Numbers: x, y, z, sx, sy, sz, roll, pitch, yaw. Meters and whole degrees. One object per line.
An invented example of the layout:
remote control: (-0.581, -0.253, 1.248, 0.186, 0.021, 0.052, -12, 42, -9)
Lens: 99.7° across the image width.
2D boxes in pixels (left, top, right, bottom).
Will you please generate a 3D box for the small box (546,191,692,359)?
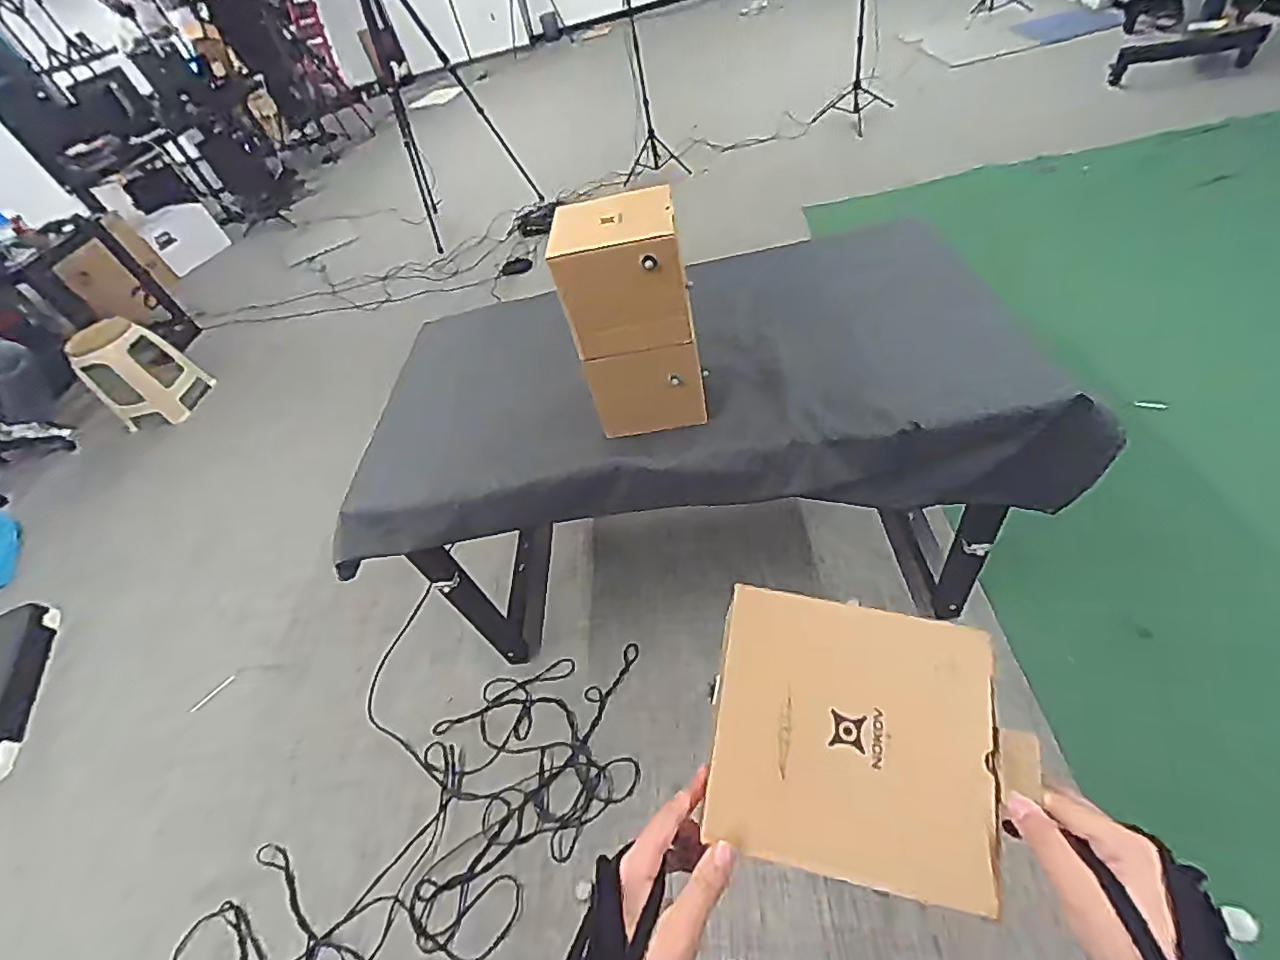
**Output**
small box: (-0.023, -0.298, 0.804, 0.179, 0.176, 0.168, -7, 47, 8)

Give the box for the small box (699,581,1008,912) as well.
small box: (0.144, 0.191, 0.419, 0.179, 0.176, 0.168, 8, 66, 10)
